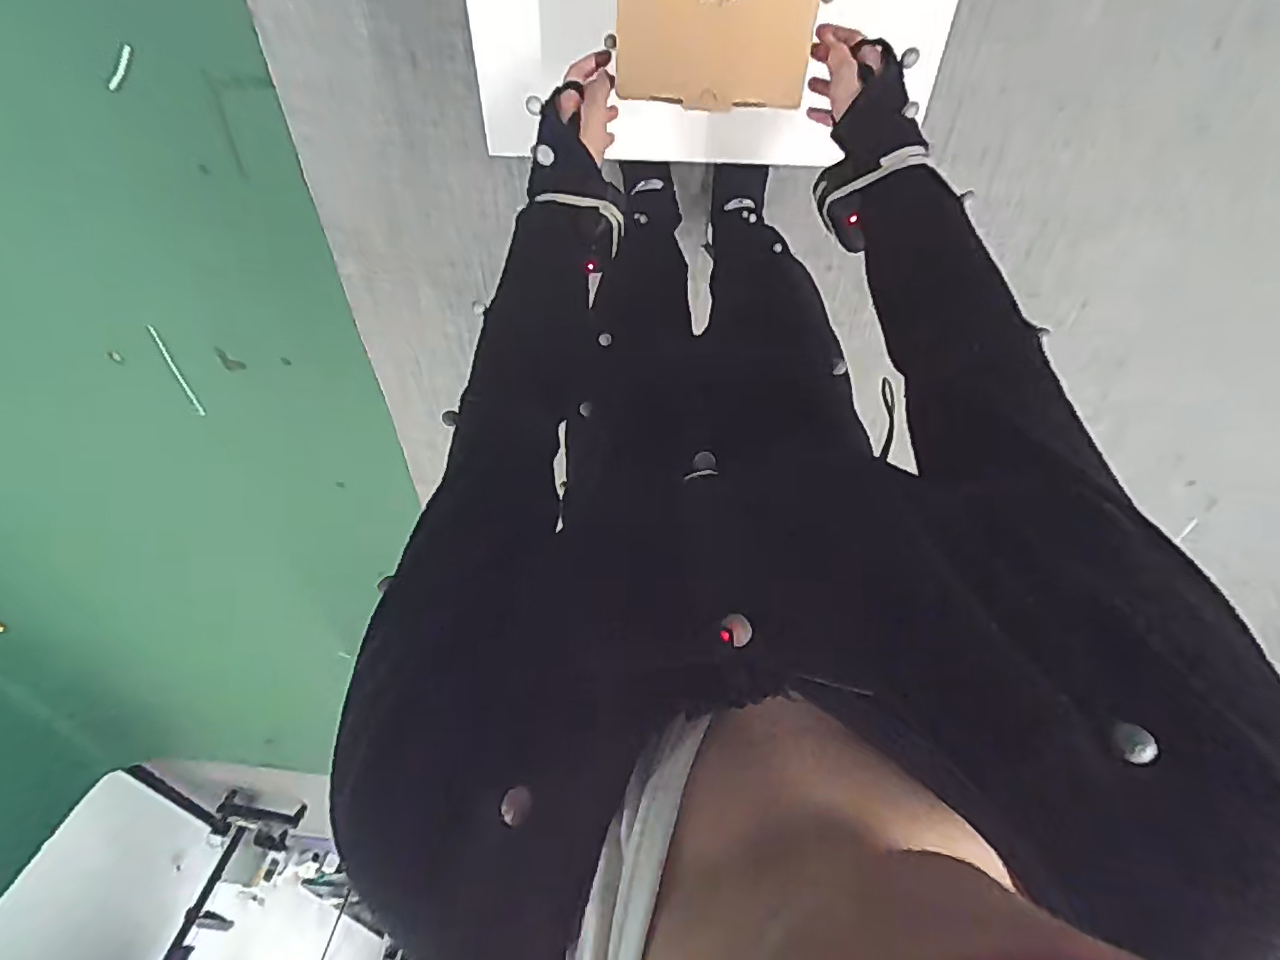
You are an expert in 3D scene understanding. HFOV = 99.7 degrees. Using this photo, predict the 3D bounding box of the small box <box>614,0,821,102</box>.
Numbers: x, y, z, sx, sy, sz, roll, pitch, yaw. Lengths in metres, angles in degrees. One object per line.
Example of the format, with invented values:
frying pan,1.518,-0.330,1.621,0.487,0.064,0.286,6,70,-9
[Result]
small box,0.069,-0.450,0.477,0.168,0.176,0.179,5,129,3

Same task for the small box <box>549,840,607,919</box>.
small box,-0.206,1.346,1.822,0.168,0.176,0.179,7,130,1
